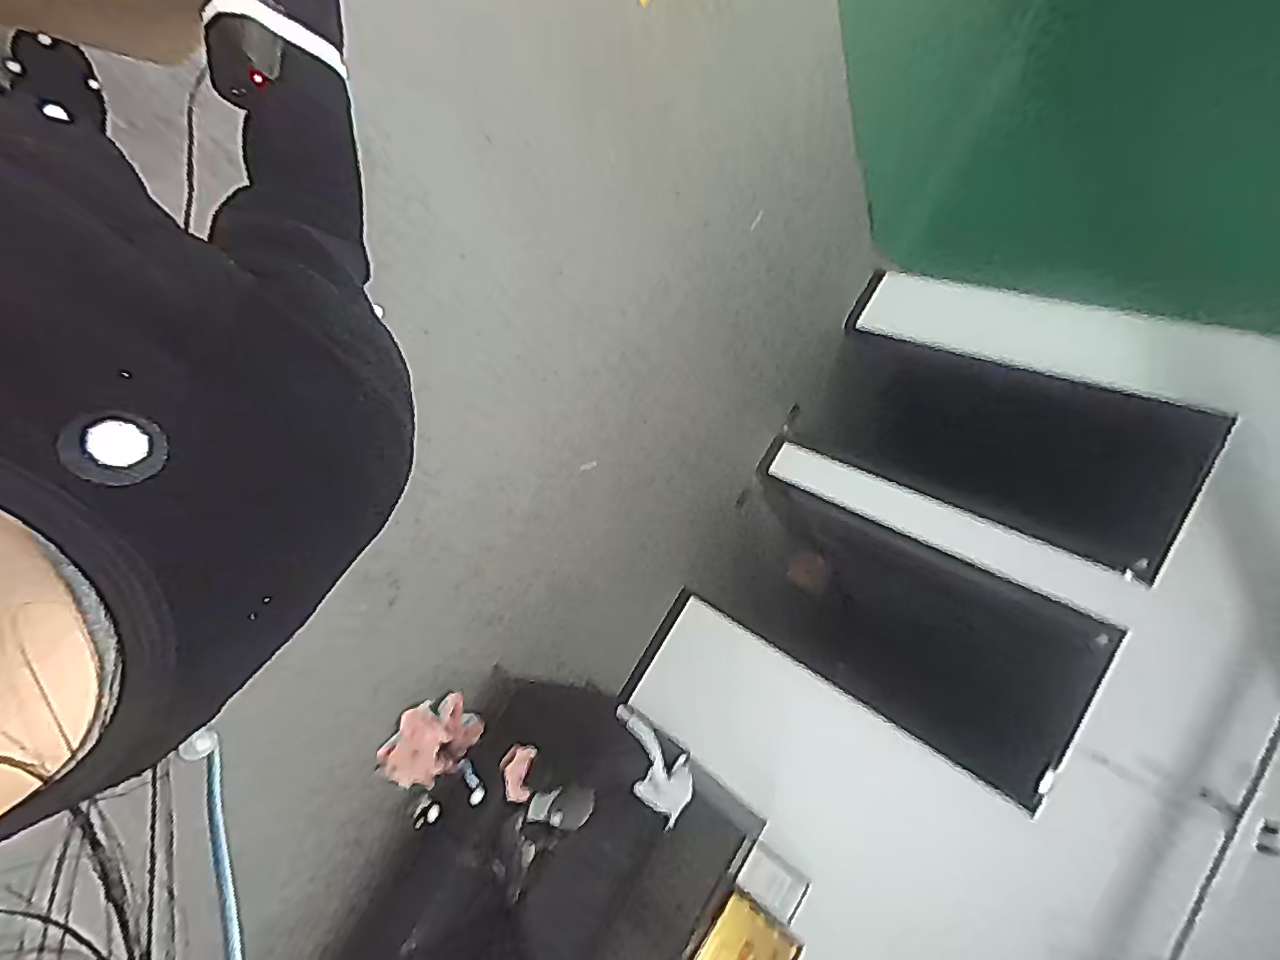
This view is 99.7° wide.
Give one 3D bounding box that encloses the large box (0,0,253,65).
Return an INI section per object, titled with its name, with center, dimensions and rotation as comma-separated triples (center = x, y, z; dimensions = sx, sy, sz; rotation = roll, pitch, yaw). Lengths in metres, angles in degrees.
[large box]
center = -0.508, -0.497, 0.302
dimensions = 0.408, 0.320, 0.320
rotation = -18, 118, -45
